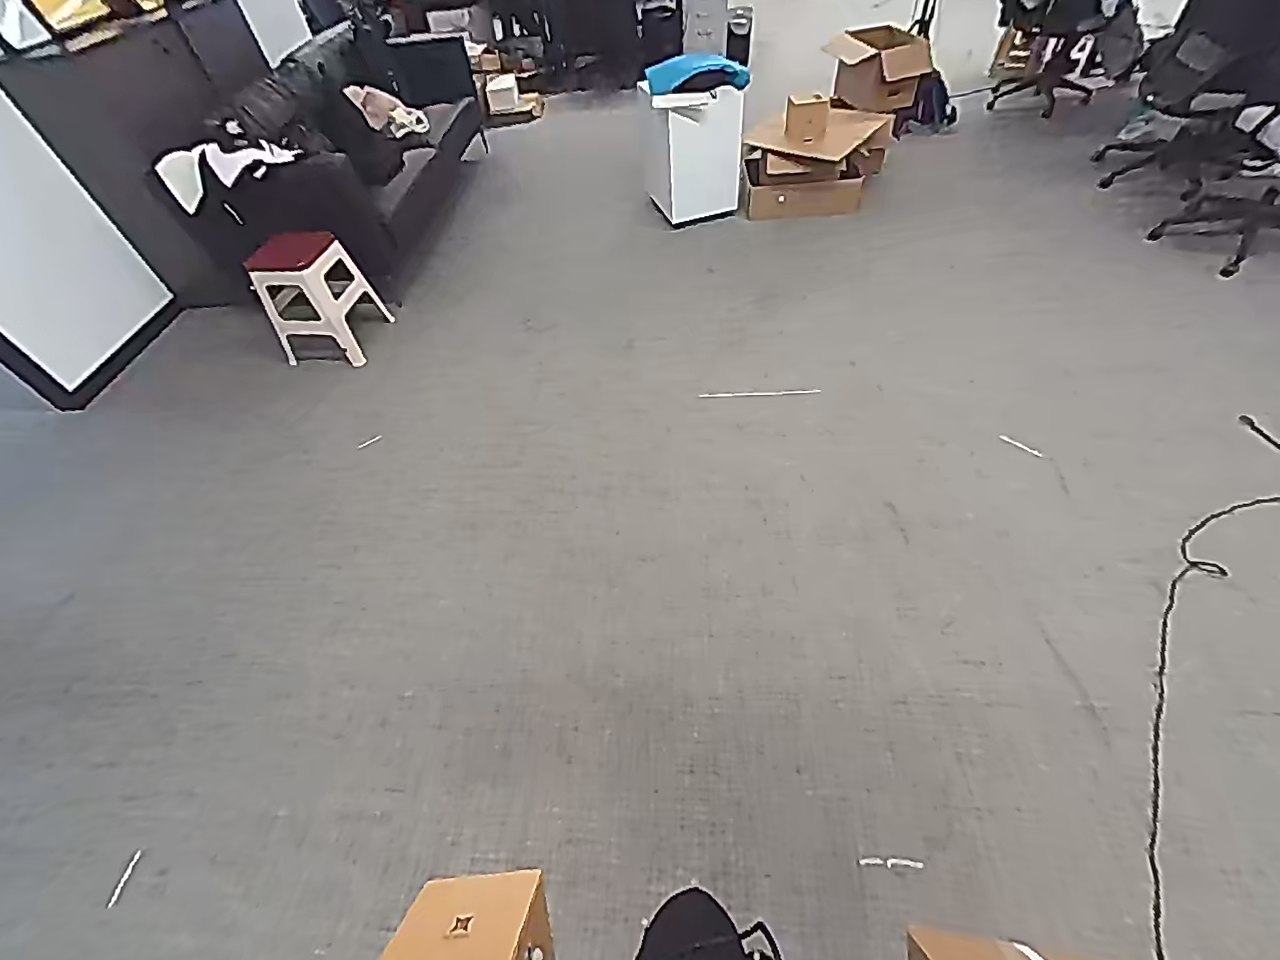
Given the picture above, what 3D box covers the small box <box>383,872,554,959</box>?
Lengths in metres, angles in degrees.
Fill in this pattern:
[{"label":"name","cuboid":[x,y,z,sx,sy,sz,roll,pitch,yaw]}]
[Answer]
[{"label":"small box","cuboid":[-0.206,0.631,0.663,0.168,0.179,0.176,-9,91,4]}]
